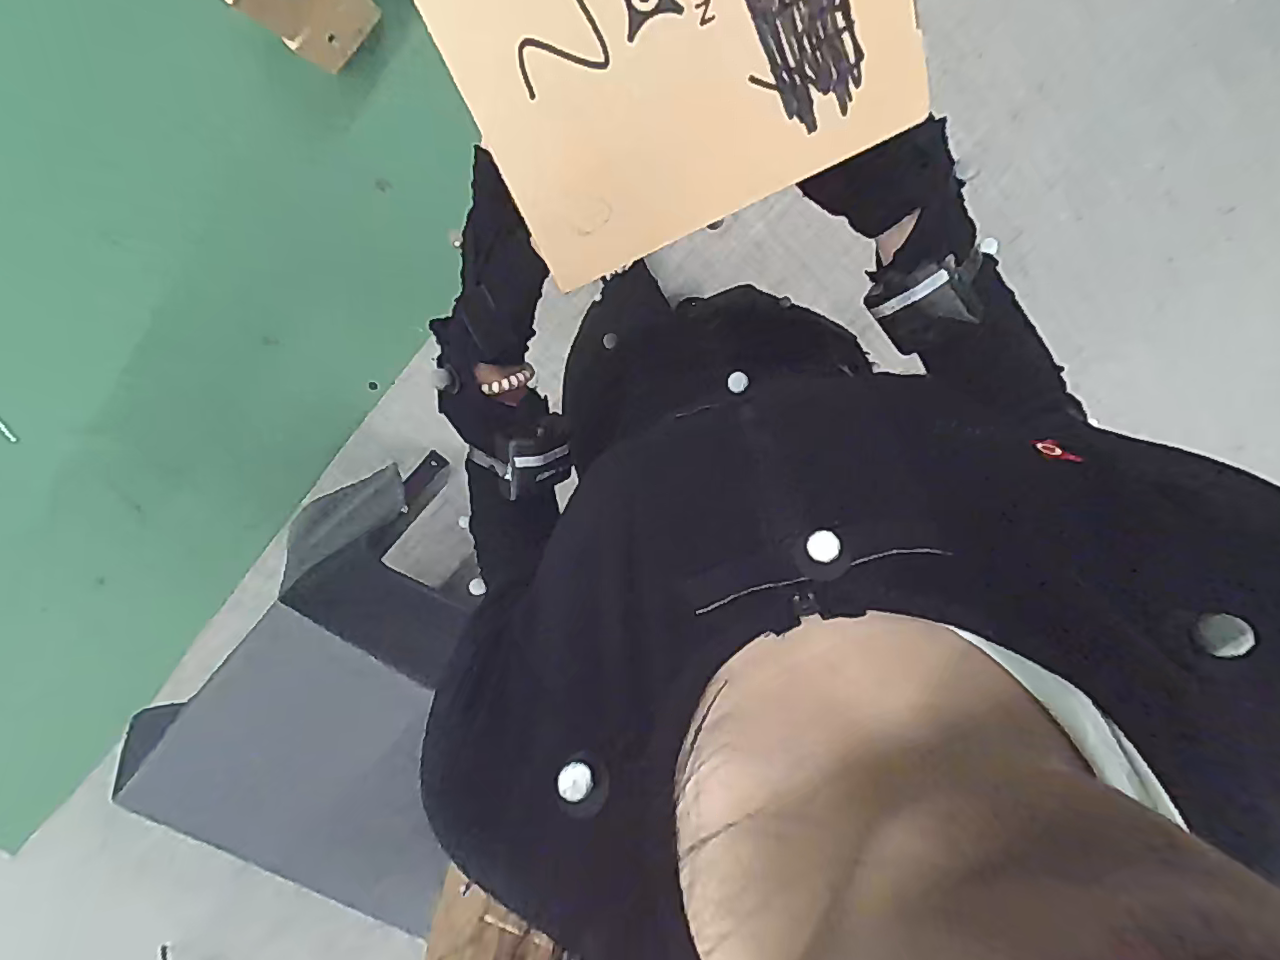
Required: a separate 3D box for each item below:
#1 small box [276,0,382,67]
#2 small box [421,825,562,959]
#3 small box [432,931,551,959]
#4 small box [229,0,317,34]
[{"bbox_3d":[-0.642,-0.949,1.046,0.168,0.176,0.179,-39,108,14],"label":"small box"},{"bbox_3d":[-0.259,0.784,0.991,0.168,0.176,0.179,42,105,-17],"label":"small box"},{"bbox_3d":[-0.255,0.852,0.843,0.179,0.176,0.168,39,107,-16],"label":"small box"},{"bbox_3d":[-0.639,-0.897,0.889,0.179,0.176,0.168,-40,108,14],"label":"small box"}]
